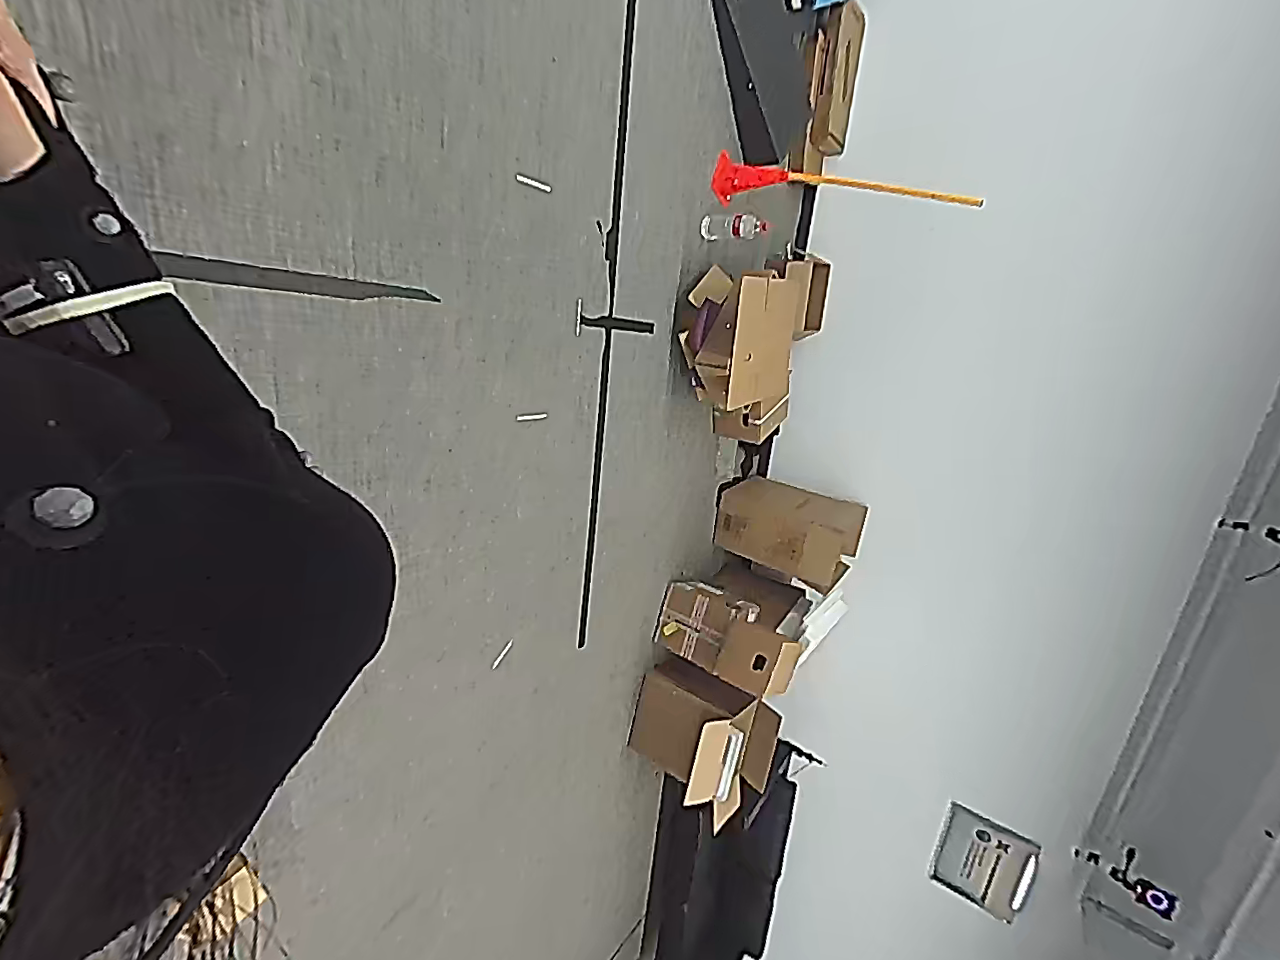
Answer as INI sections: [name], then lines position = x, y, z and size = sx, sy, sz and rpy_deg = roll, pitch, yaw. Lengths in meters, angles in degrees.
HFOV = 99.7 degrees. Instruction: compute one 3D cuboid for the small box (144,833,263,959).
[small box]
position = -1.159, 1.097, 1.439
size = 0.179, 0.176, 0.168
rpy_deg = -33, 130, -47
